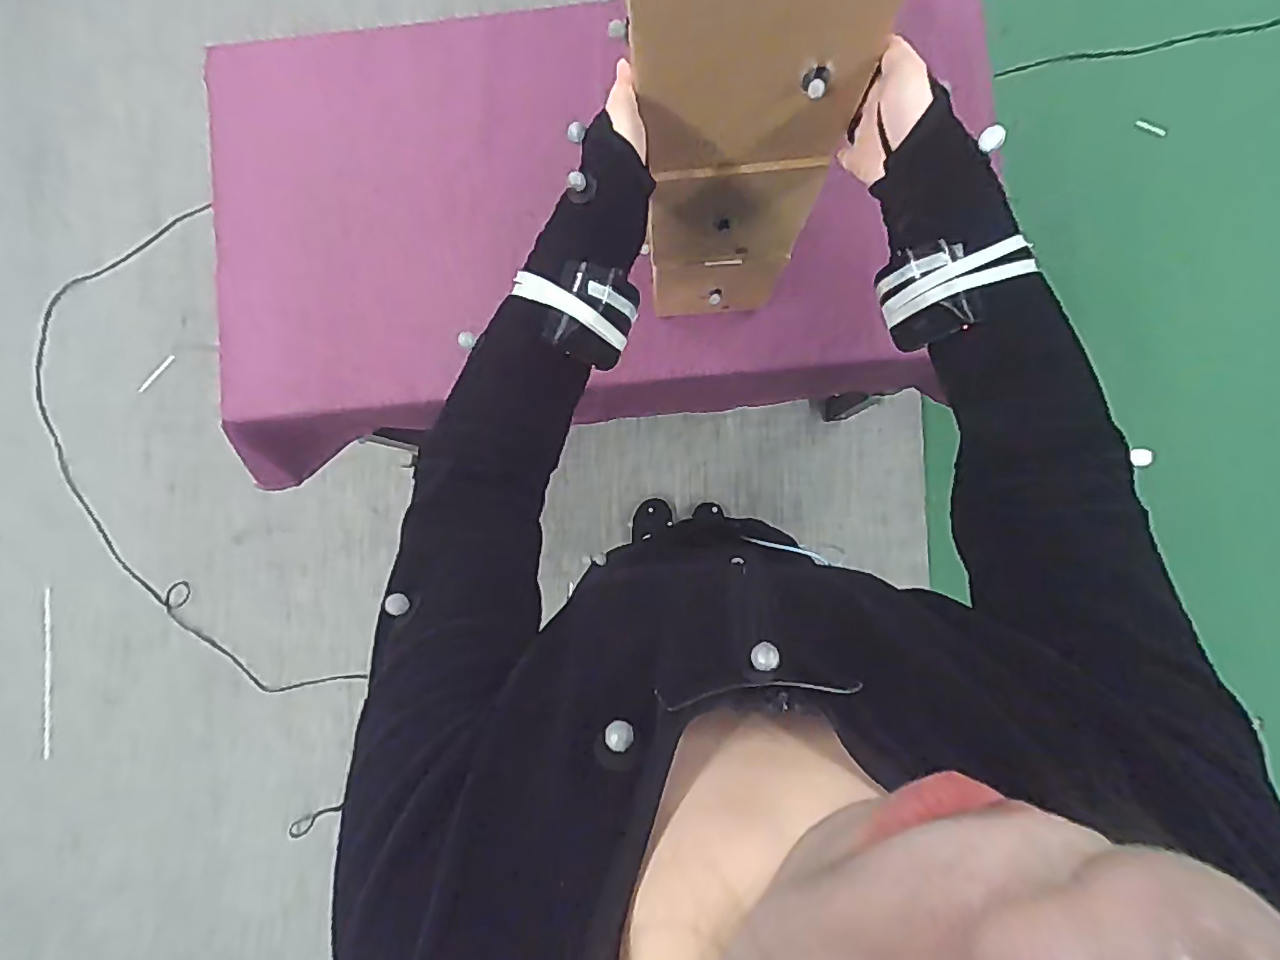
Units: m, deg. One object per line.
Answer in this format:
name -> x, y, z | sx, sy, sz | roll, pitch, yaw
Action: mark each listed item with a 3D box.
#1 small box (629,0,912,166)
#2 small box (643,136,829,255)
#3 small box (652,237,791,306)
small box -> 0.080, -0.366, 0.402 | 0.179, 0.176, 0.168 | -4, 86, 2
small box -> 0.086, -0.351, 0.563 | 0.168, 0.176, 0.179 | -2, 85, 1
small box -> 0.099, -0.345, 0.729 | 0.168, 0.176, 0.179 | -4, 88, 1
